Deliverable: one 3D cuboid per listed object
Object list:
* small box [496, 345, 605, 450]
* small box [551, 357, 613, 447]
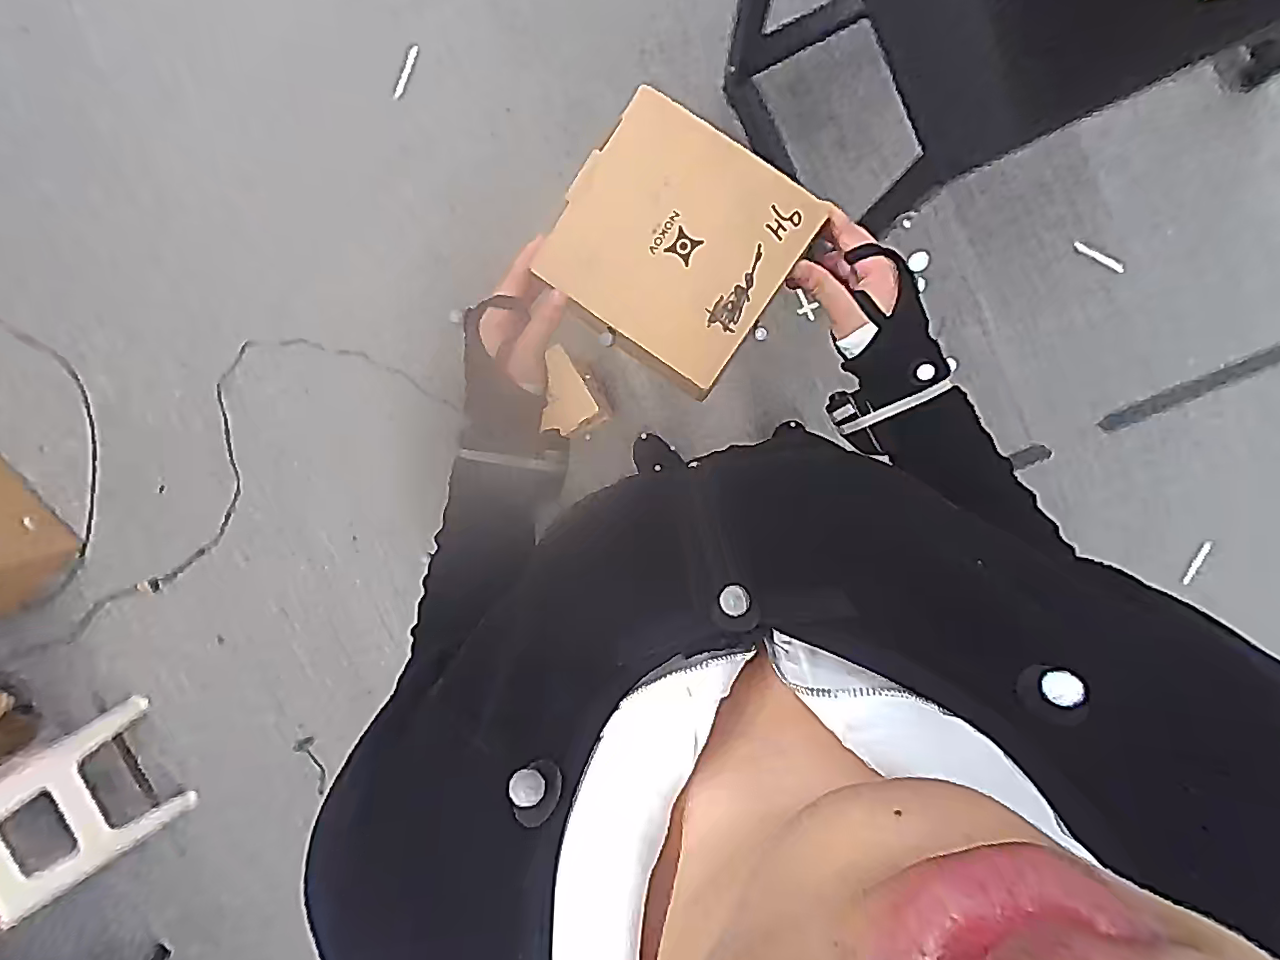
[{"bbox_3d":[-0.197,-0.187,1.252,0.168,0.176,0.179,-32,92,5],"label":"small box"},{"bbox_3d":[-0.184,-0.199,1.414,0.168,0.176,0.179,-28,95,6],"label":"small box"}]
